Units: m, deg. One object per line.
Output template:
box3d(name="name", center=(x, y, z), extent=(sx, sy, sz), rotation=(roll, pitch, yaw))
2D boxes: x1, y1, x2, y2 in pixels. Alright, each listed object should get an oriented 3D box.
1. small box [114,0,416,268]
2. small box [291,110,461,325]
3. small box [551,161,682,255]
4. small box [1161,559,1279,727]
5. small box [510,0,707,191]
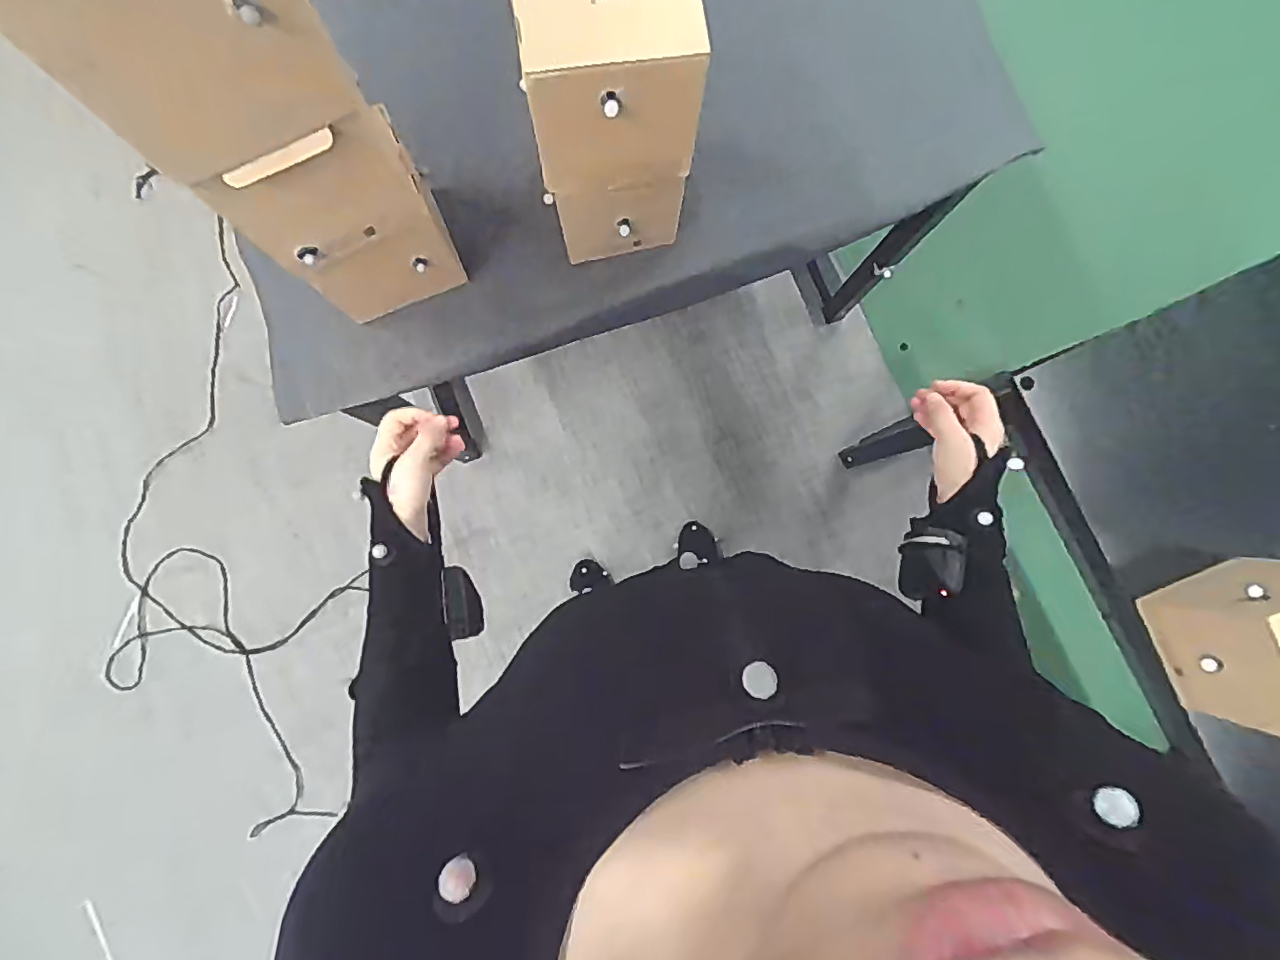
box3d(name="small box", center=(-0.368, -0.353, 0.566), extent=(0.168, 0.176, 0.179), rotation=(-28, 83, -4))
box3d(name="small box", center=(-0.362, -0.339, 0.730), extent=(0.179, 0.176, 0.168), rotation=(-24, 83, -3))
box3d(name="small box", center=(-0.044, -0.433, 0.744), extent=(0.168, 0.176, 0.179), rotation=(-14, 84, -2))
box3d(name="small box", center=(0.840, 0.210, 0.699), extent=(0.179, 0.176, 0.168), rotation=(-21, 86, -3))
box3d(name="small box", center=(-0.035, -0.444, 0.581), extent=(0.179, 0.176, 0.168), rotation=(-9, 83, -1))
